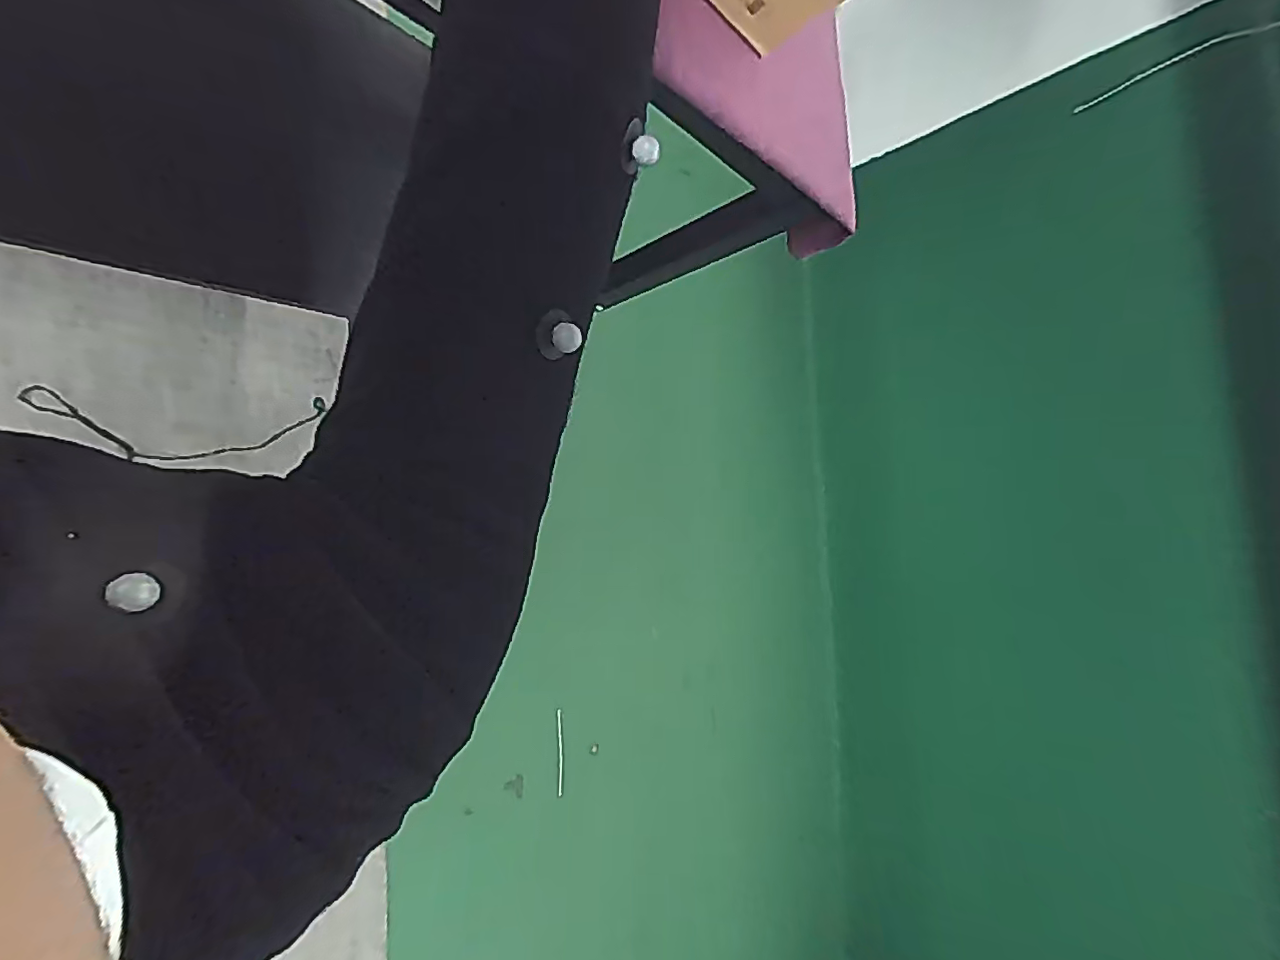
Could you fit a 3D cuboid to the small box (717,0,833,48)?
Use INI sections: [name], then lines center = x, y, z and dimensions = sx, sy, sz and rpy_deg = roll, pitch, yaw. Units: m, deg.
[small box]
center = 0.120, -0.511, 0.431
dimensions = 0.168, 0.176, 0.179
rpy_deg = -1, 85, -48
